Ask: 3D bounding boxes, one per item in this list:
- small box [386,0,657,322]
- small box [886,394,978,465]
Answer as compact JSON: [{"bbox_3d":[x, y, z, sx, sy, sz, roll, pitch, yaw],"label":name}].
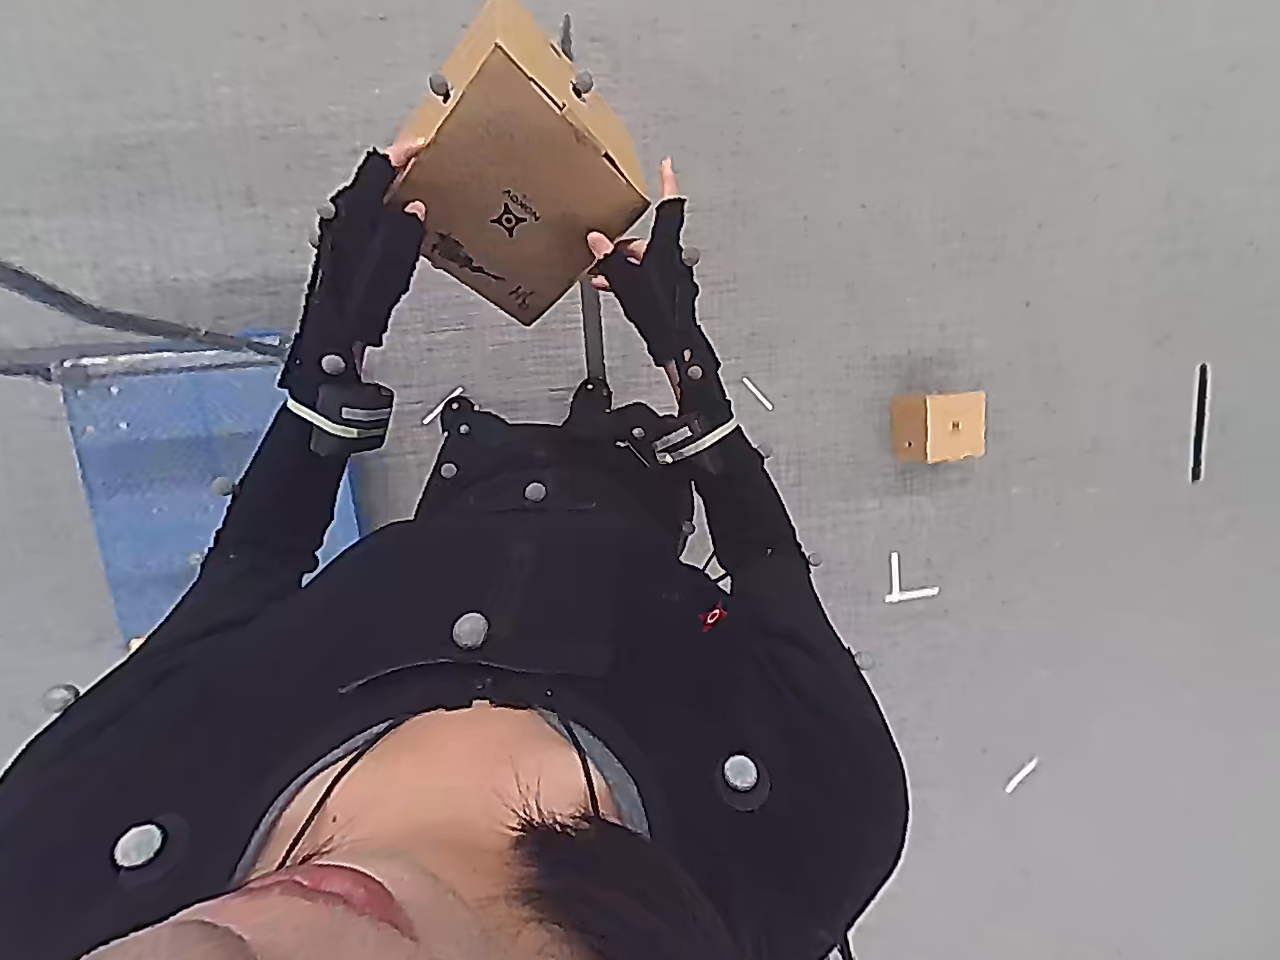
[{"bbox_3d":[-0.112,-0.296,0.513,0.179,0.176,0.168,-34,137,28],"label":"small box"},{"bbox_3d":[0.808,-0.147,1.510,0.168,0.176,0.179,-7,99,-6],"label":"small box"}]
